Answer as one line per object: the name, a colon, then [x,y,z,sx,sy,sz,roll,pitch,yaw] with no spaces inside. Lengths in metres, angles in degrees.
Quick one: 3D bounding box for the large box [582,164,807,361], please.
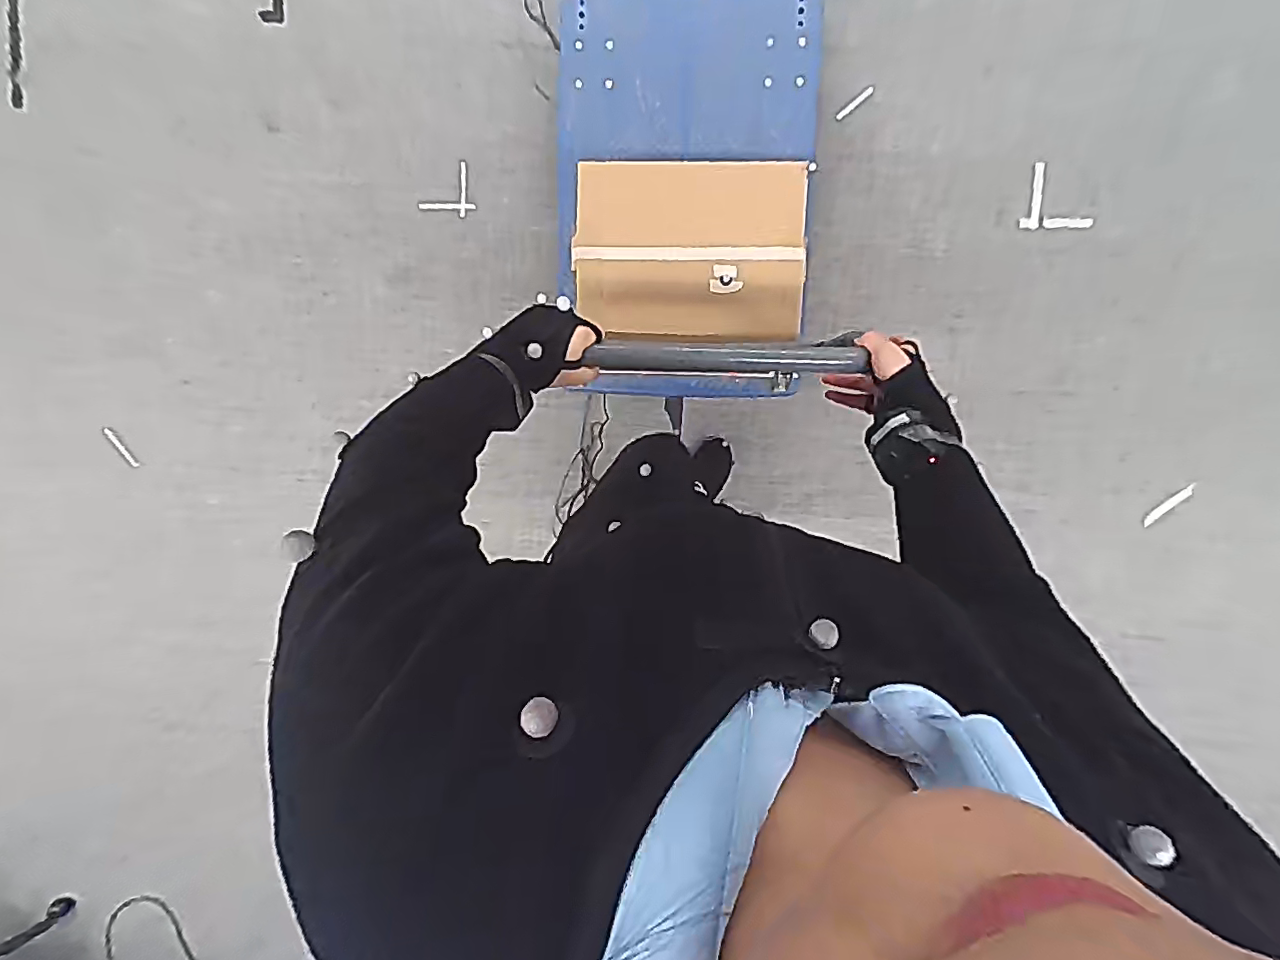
large box: [0.098,-0.419,1.118,0.408,0.320,0.320,1,97,2]
